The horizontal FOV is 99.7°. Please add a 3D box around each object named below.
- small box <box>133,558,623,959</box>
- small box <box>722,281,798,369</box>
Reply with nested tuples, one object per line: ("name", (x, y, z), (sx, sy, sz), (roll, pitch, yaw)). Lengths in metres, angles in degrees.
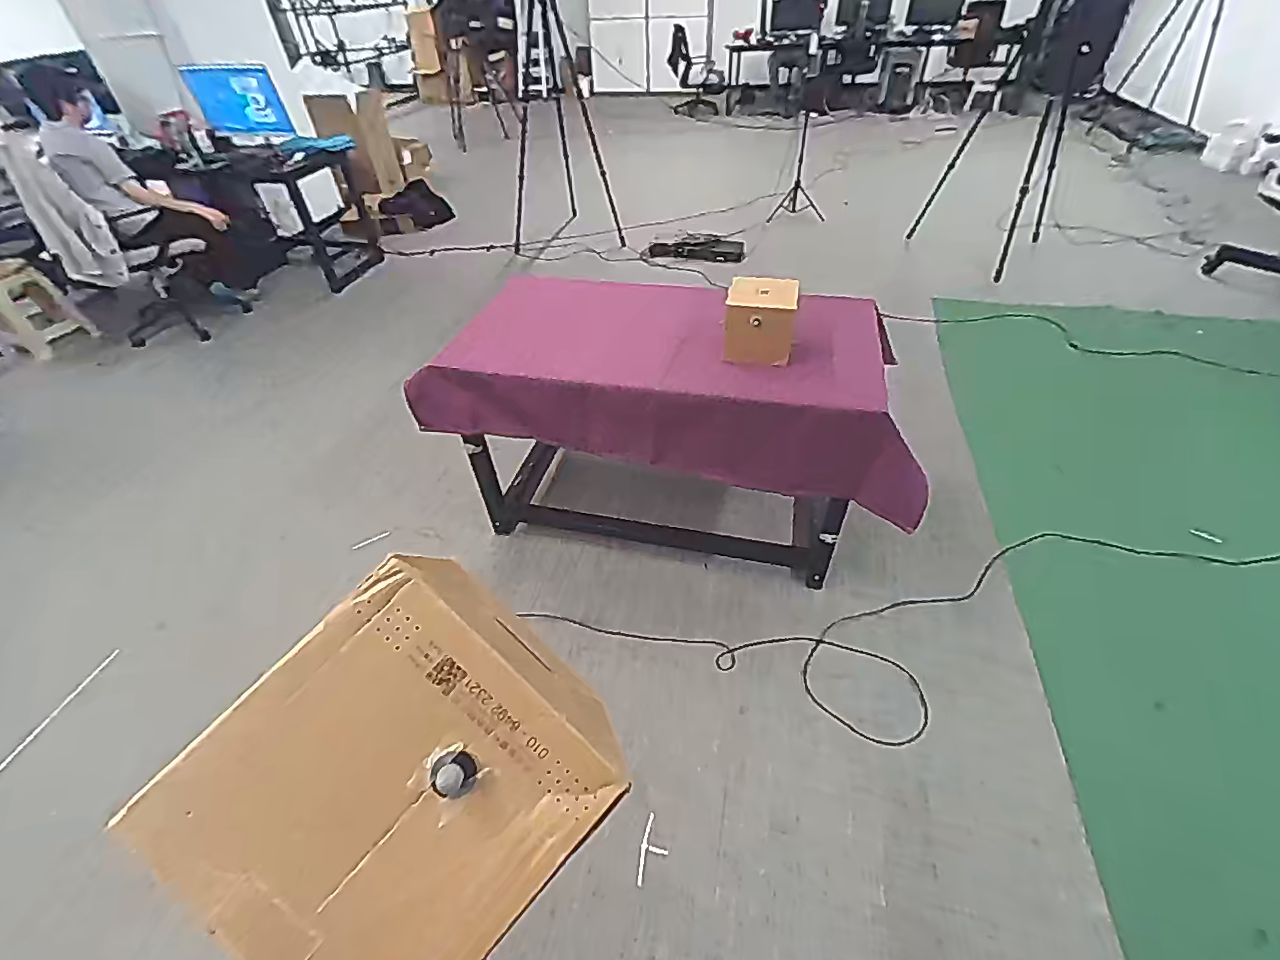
("small box", (-0.128, 0.163, 0.342), (0.168, 0.179, 0.176), (43, 77, 1))
("small box", (0.316, -0.411, 1.436), (0.179, 0.176, 0.168), (9, 45, 12))
